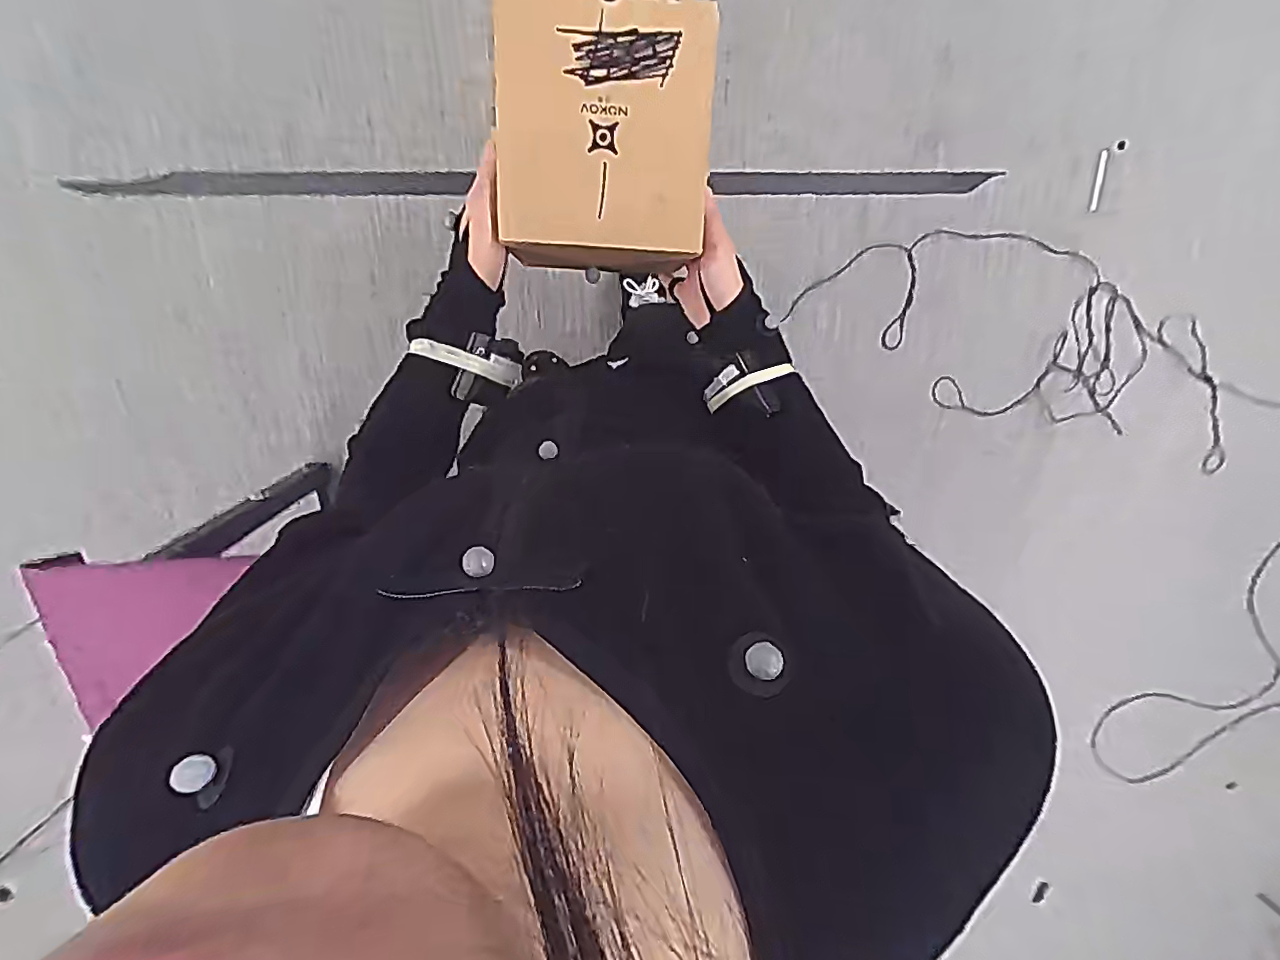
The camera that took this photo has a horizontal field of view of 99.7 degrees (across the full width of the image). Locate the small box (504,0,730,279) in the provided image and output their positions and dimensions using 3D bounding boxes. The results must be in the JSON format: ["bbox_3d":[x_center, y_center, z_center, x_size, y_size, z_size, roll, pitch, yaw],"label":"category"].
[{"bbox_3d":[-0.028,-0.288,0.488,0.168,0.176,0.179,2,105,-6],"label":"small box"}]
